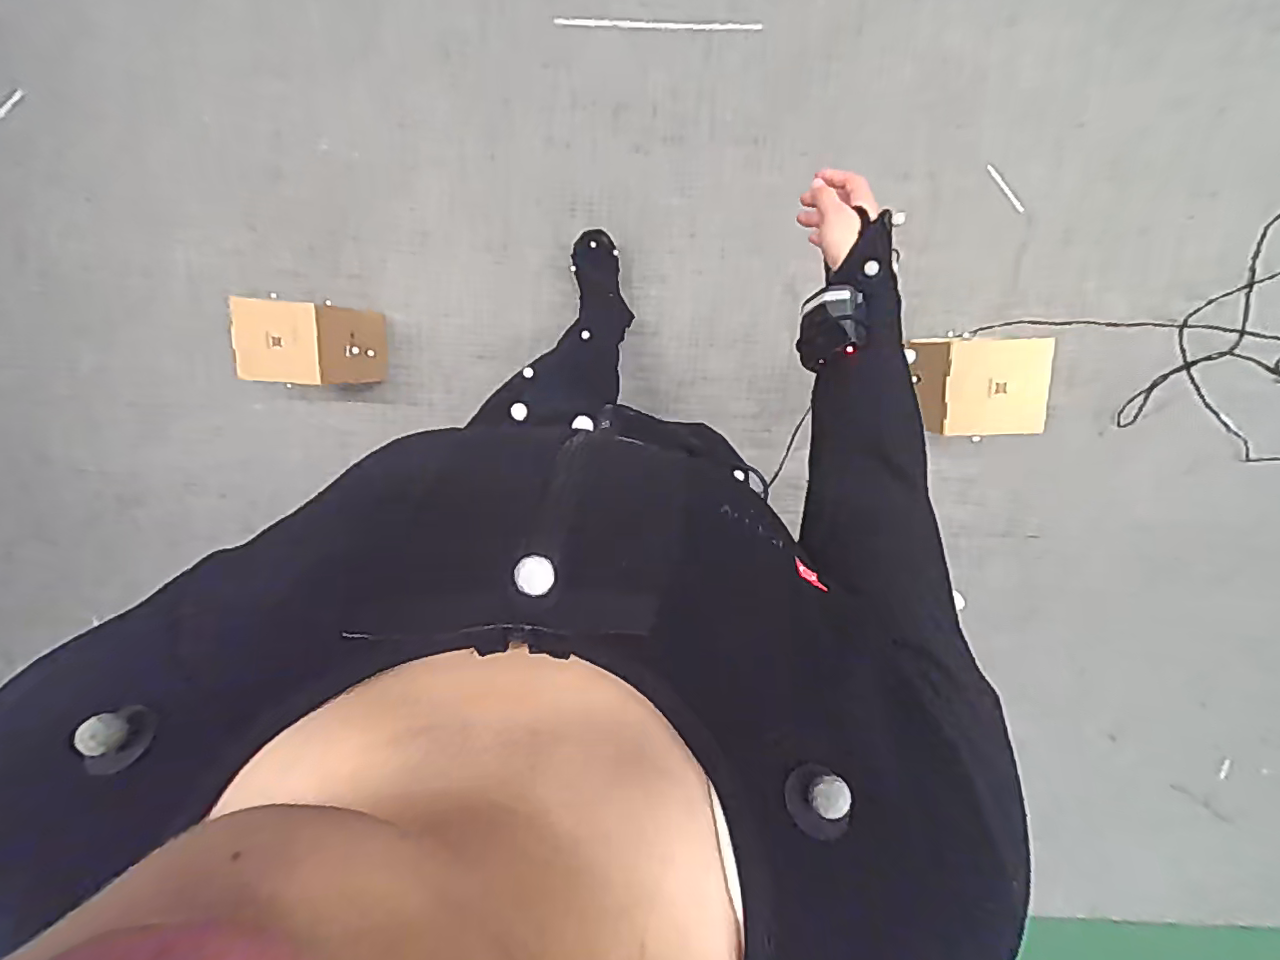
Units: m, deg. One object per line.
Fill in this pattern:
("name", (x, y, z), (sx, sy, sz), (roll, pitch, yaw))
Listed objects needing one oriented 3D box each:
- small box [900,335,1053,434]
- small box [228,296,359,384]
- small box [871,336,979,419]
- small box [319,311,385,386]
("small box", (0.613, -0.181, 1.005), (0.179, 0.176, 0.168), (-2, 103, 3))
("small box", (-0.745, -0.302, 1.179), (0.179, 0.176, 0.168), (3, 104, 0))
("small box", (0.621, -0.223, 1.162), (0.179, 0.176, 0.168), (-1, 102, 2))
("small box", (-0.751, -0.332, 1.339), (0.168, 0.176, 0.179), (4, 103, 0))
